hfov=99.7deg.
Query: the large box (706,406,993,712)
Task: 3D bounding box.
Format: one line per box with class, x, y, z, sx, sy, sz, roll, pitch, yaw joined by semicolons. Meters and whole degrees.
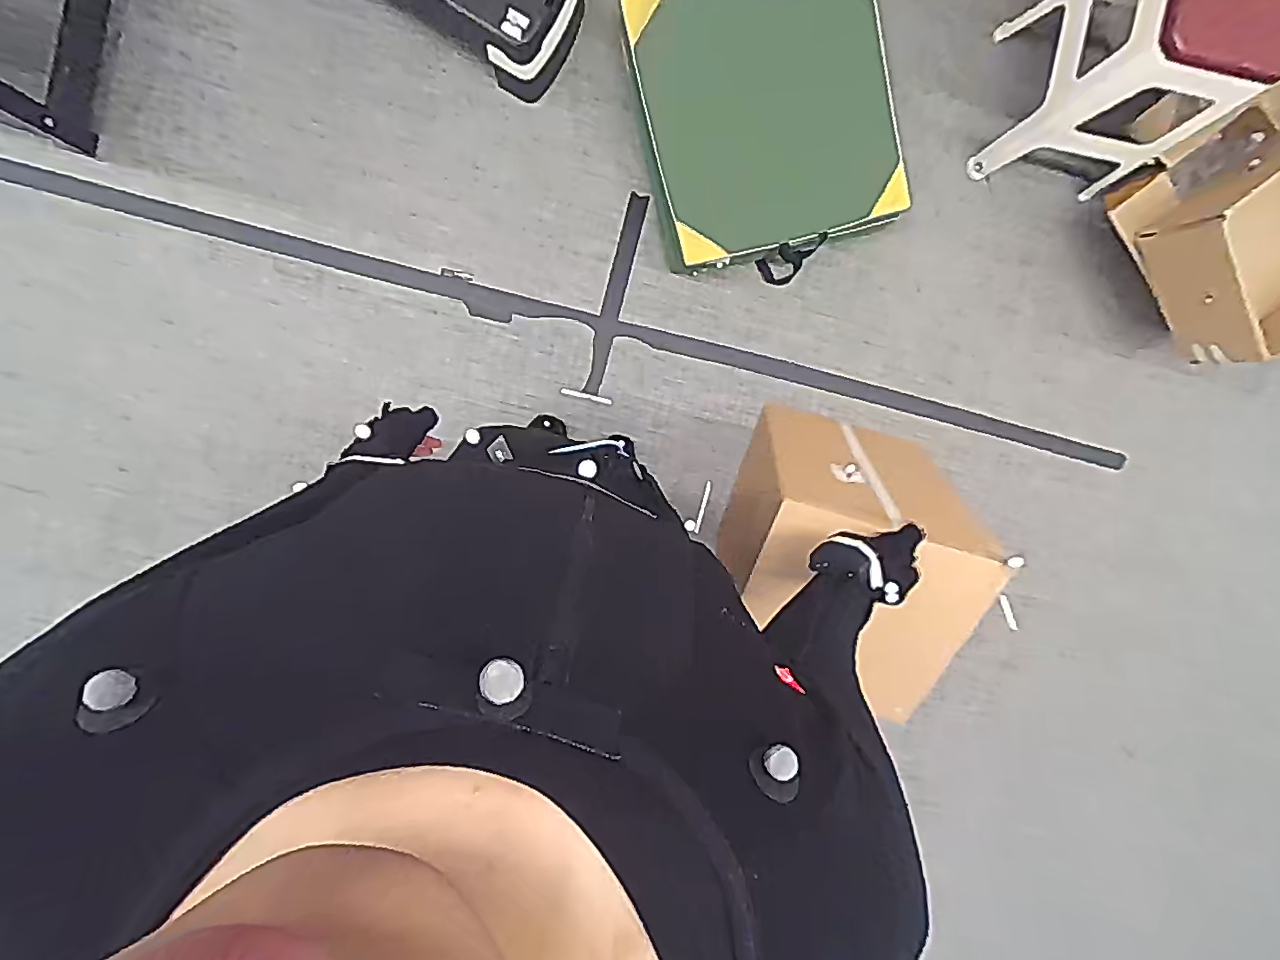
large box;0.308;0.115;0.958;0.320;0.408;0.320;15;119;0
